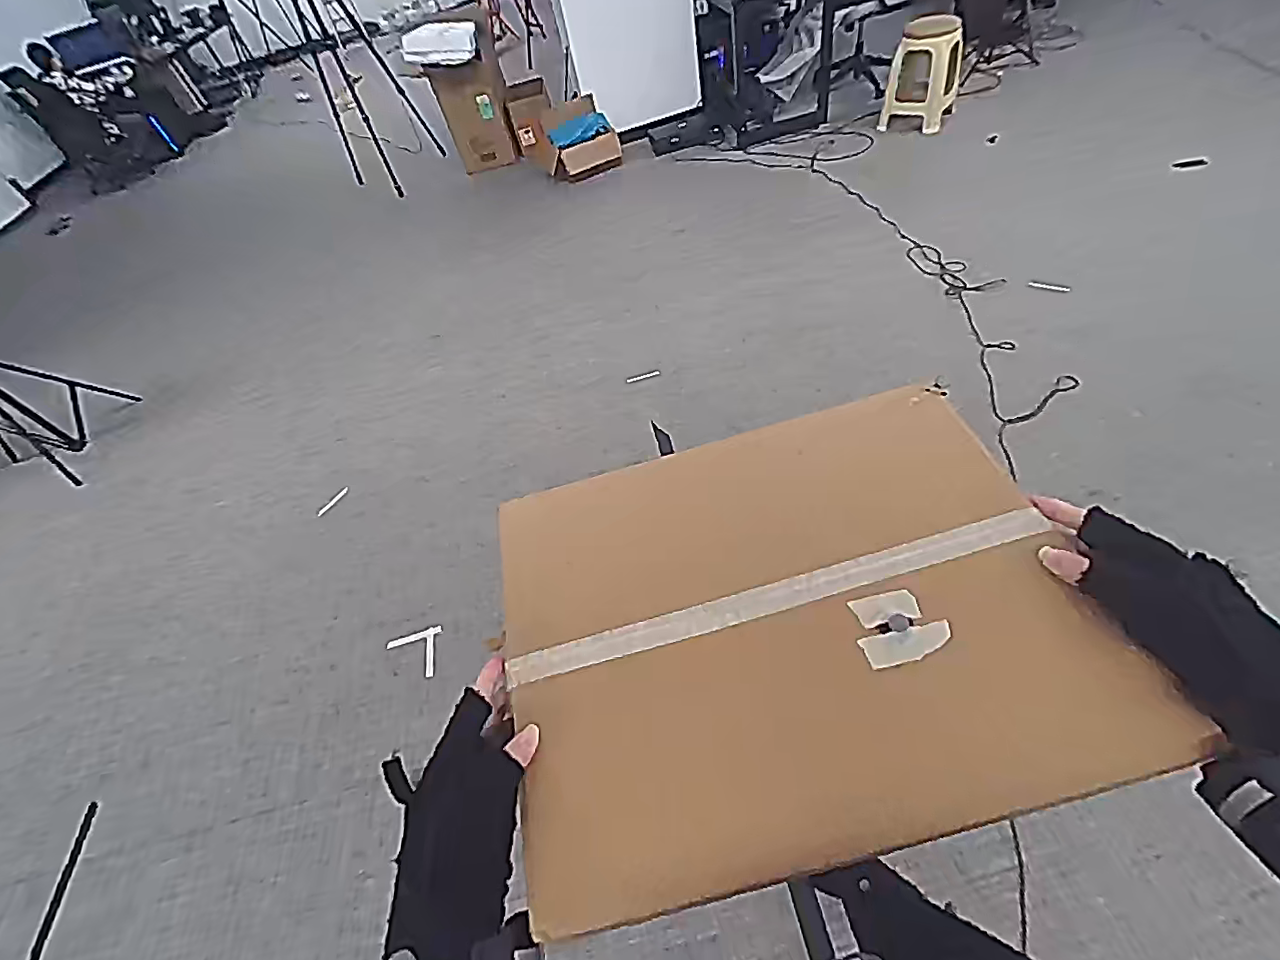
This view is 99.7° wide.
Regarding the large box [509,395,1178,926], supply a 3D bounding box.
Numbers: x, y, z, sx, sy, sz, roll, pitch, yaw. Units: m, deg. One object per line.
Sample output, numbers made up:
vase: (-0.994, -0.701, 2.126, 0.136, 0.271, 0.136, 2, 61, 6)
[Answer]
large box: (0.125, 0.179, 0.529, 0.408, 0.320, 0.320, -16, 53, 0)
